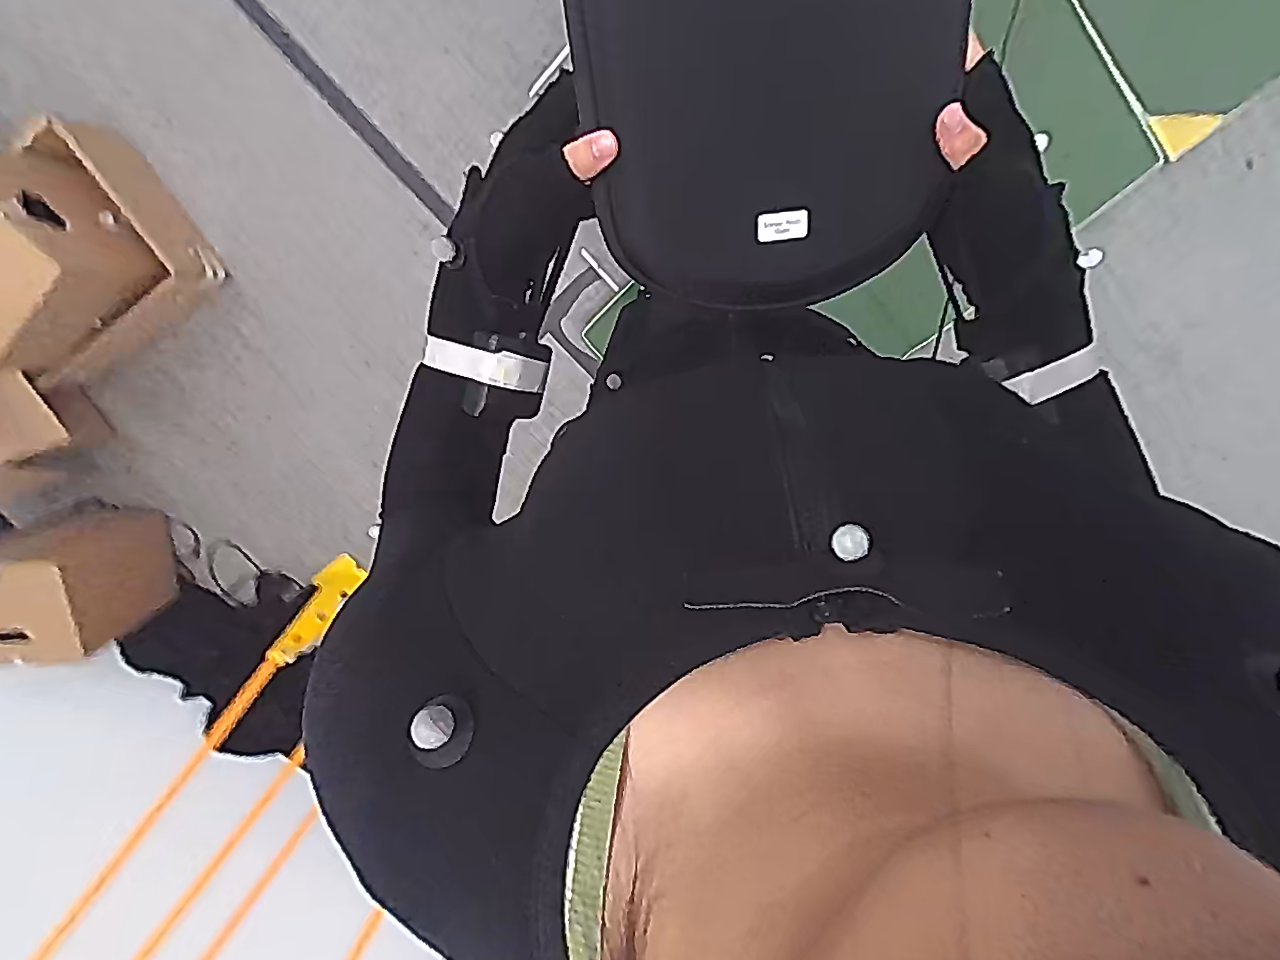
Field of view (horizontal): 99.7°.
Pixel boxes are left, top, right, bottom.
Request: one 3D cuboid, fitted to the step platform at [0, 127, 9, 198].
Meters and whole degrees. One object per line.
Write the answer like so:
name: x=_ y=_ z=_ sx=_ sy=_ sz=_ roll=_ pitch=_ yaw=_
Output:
step platform: x=-2.002 y=-0.944 z=1.328 sx=0.684 sy=0.204 sz=0.286 roll=18 pitch=112 yaw=-2
